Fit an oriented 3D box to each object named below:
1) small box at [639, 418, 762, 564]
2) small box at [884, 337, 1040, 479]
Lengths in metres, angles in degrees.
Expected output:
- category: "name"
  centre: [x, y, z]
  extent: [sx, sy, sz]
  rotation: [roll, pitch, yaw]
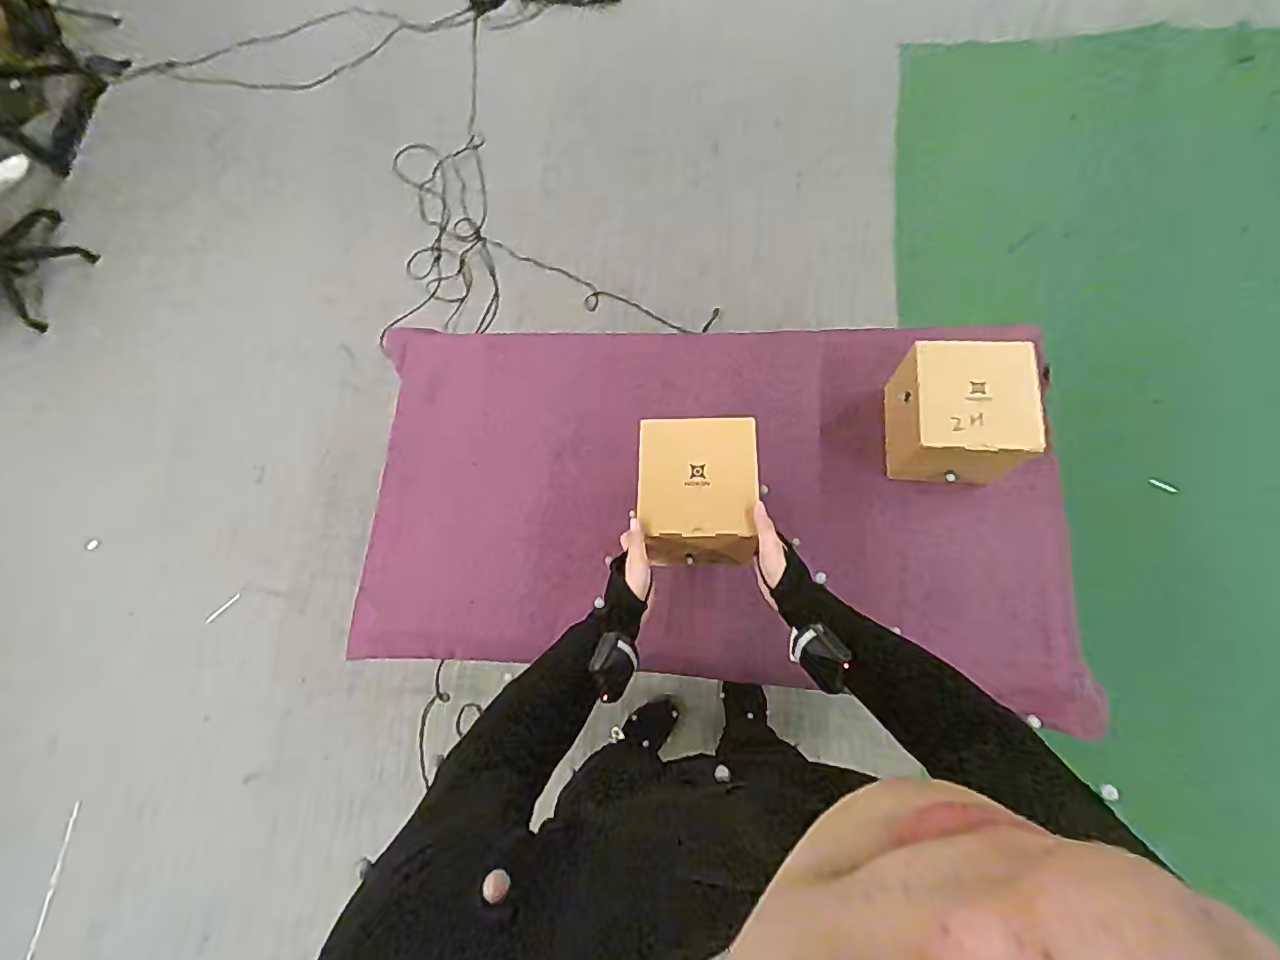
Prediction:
- category: "small box"
  centre: [0.087, 0.022, 0.815]
  extent: [0.168, 0.176, 0.179]
  rotation: [-1, 70, 5]
- category: "small box"
  centre: [0.503, -0.111, 0.872]
  extent: [0.168, 0.176, 0.179]
  rotation: [3, 75, 10]
